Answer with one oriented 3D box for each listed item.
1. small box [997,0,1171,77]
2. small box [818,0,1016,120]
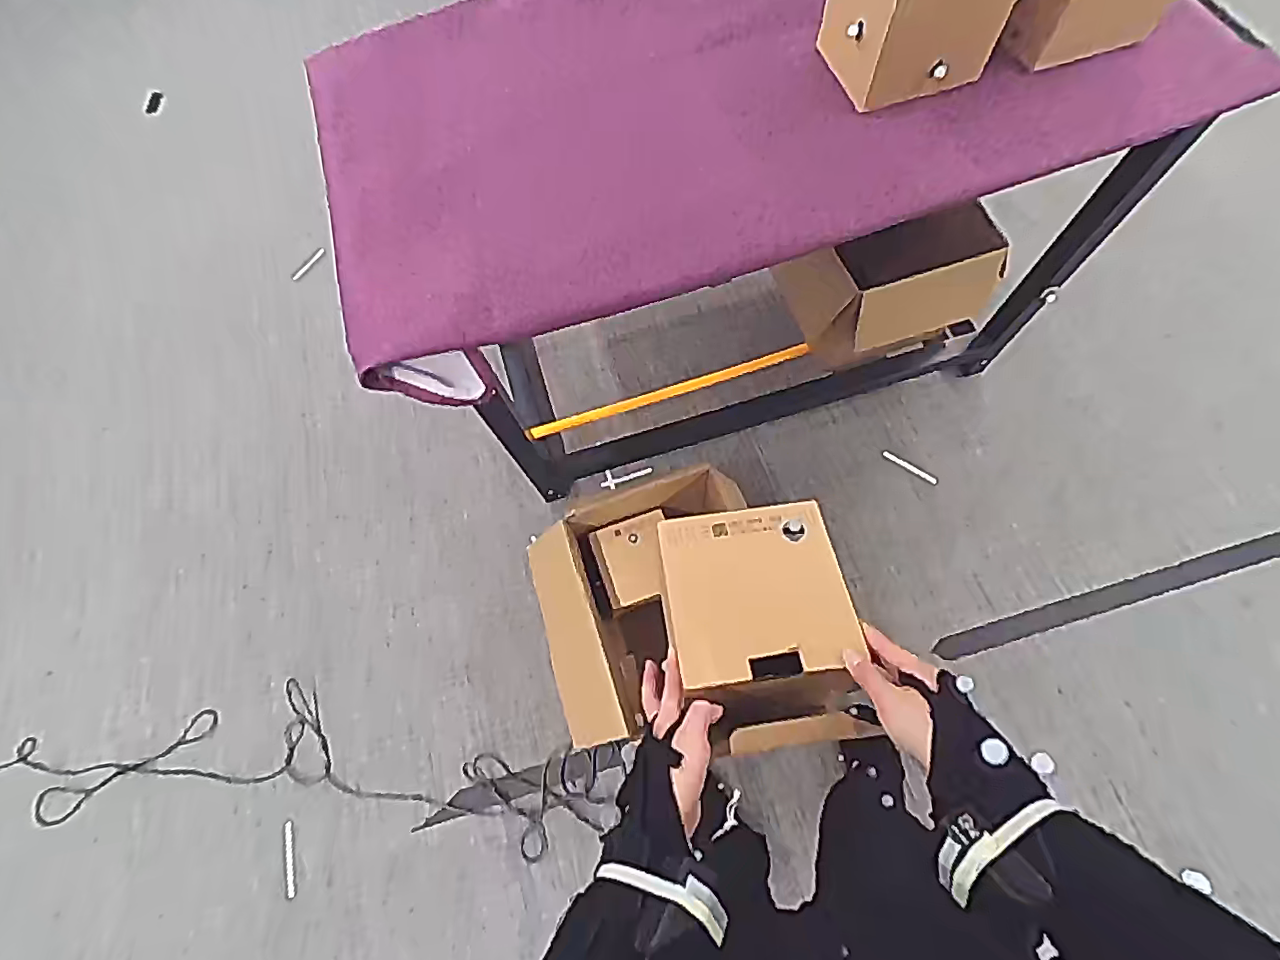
[{"bbox_3d":[0.606,-0.691,0.726,0.179,0.176,0.168,-16,67,-2],"label":"small box"},{"bbox_3d":[0.367,-0.632,0.721,0.179,0.176,0.168,-16,68,-1],"label":"small box"}]
